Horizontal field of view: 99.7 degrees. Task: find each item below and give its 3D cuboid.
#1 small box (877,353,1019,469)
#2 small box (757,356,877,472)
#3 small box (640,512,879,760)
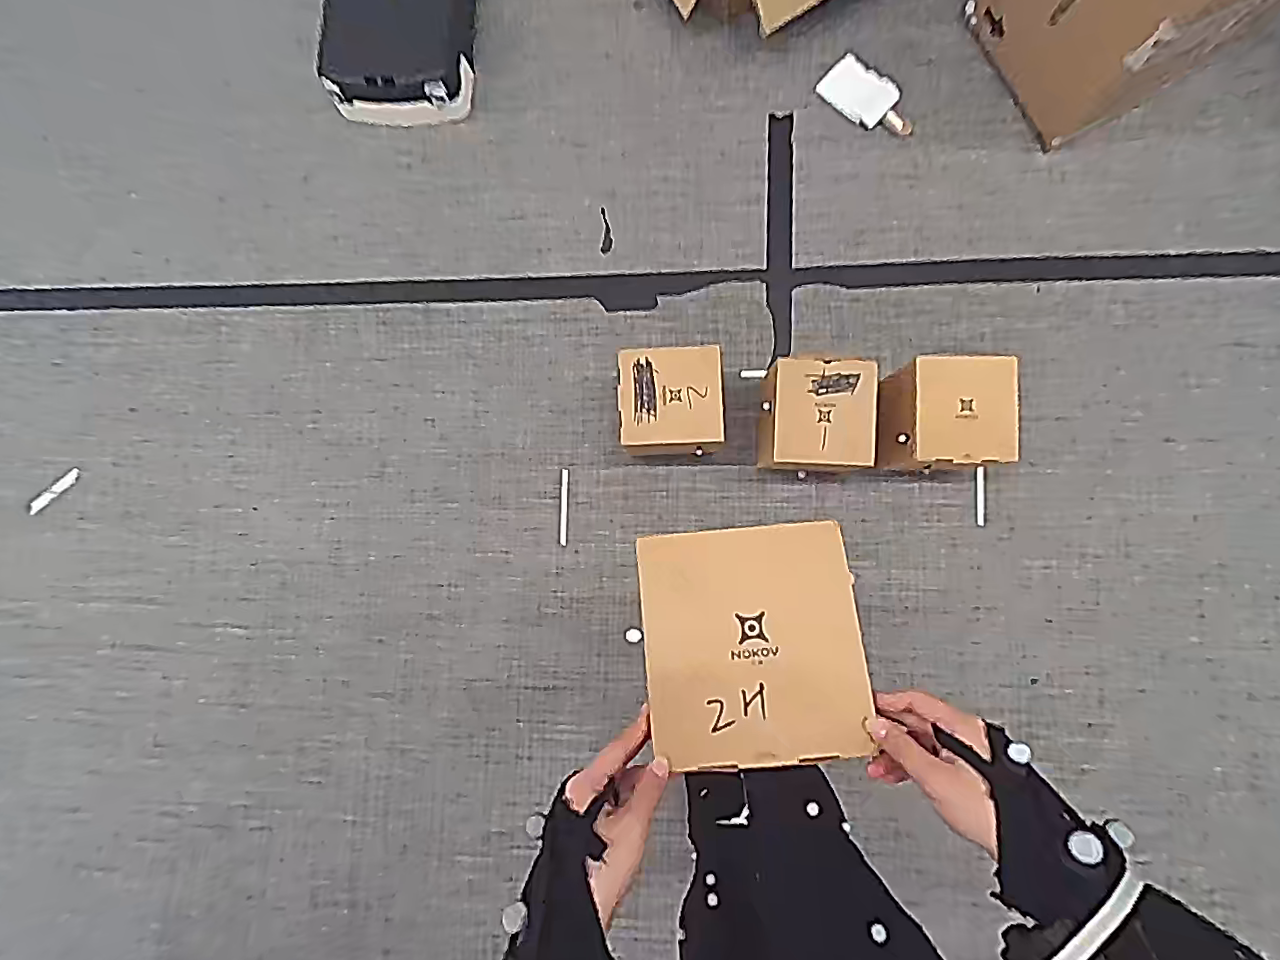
[{"bbox_3d":[0.533,-0.114,0.957,0.168,0.176,0.179,1,87,3],"label":"small box"},{"bbox_3d":[0.306,-0.111,0.965,0.168,0.176,0.179,3,88,3],"label":"small box"},{"bbox_3d":[0.087,0.136,0.487,0.168,0.176,0.179,-5,74,1],"label":"small box"}]
